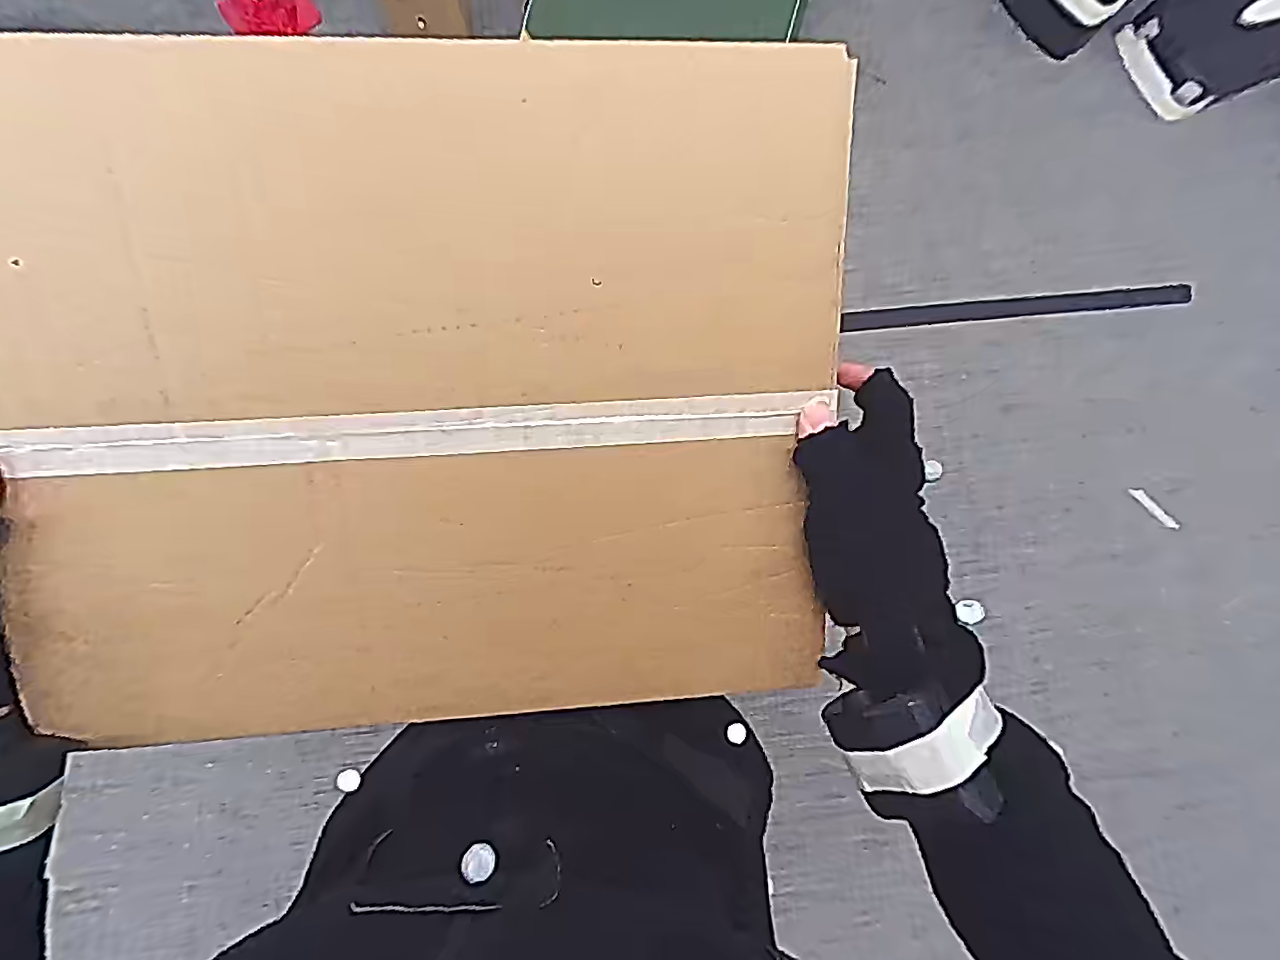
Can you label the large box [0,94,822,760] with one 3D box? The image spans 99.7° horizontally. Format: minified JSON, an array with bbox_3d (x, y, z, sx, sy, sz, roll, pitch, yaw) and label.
[{"bbox_3d":[-0.120,-0.049,0.409,0.408,0.320,0.320,-3,104,-5],"label":"large box"}]
